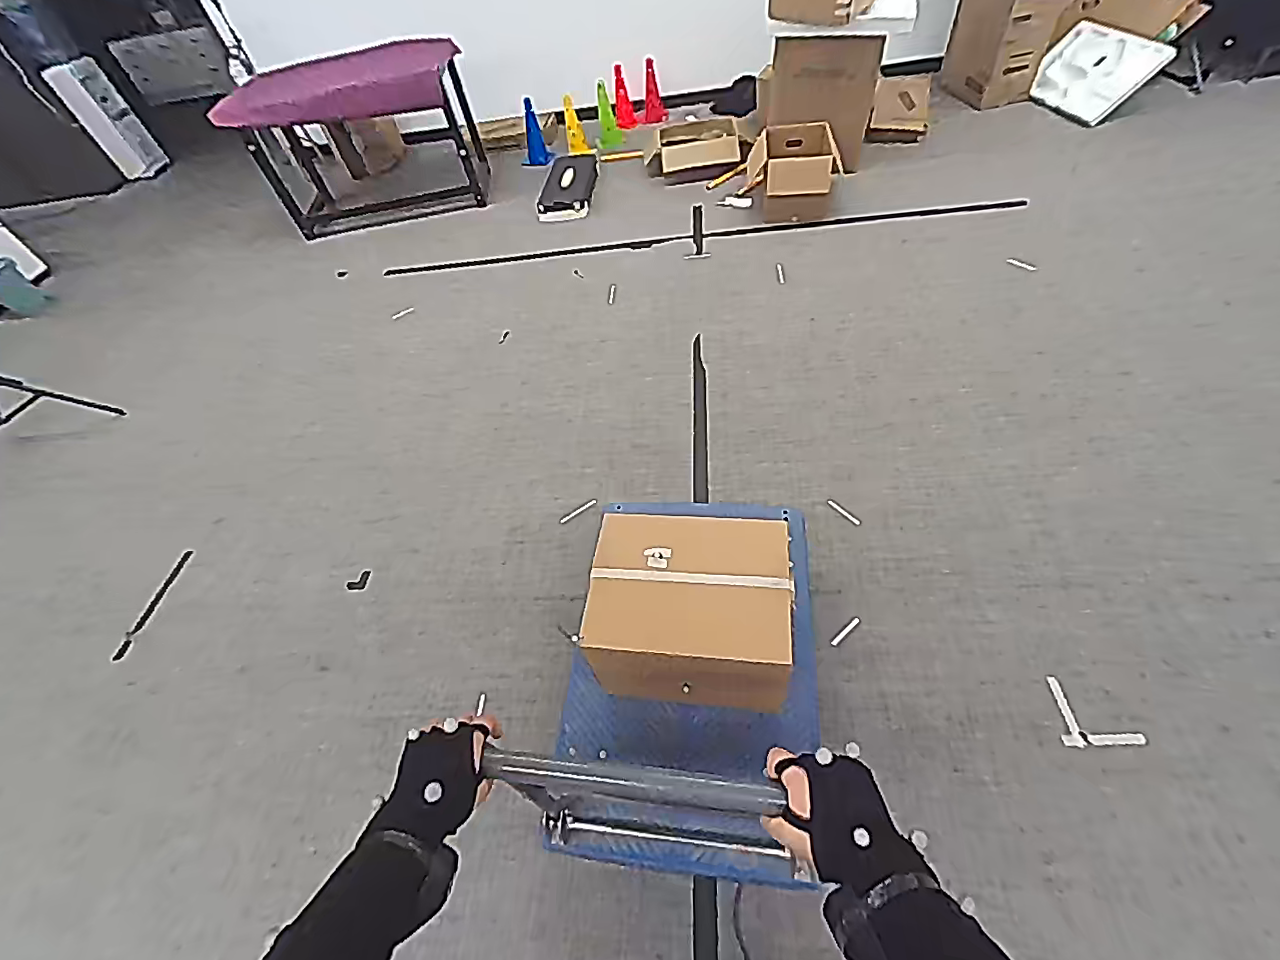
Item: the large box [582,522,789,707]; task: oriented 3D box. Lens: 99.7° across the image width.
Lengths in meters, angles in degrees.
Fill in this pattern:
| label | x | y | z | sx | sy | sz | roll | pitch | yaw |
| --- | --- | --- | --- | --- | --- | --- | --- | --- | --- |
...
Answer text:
| label | x | y | z | sx | sy | sz | roll | pitch | yaw |
| --- | --- | --- | --- | --- | --- | --- | --- | --- | --- |
| large box | 0.119 | 0.308 | 1.235 | 0.408 | 0.320 | 0.320 | 0 | 51 | 11 |
